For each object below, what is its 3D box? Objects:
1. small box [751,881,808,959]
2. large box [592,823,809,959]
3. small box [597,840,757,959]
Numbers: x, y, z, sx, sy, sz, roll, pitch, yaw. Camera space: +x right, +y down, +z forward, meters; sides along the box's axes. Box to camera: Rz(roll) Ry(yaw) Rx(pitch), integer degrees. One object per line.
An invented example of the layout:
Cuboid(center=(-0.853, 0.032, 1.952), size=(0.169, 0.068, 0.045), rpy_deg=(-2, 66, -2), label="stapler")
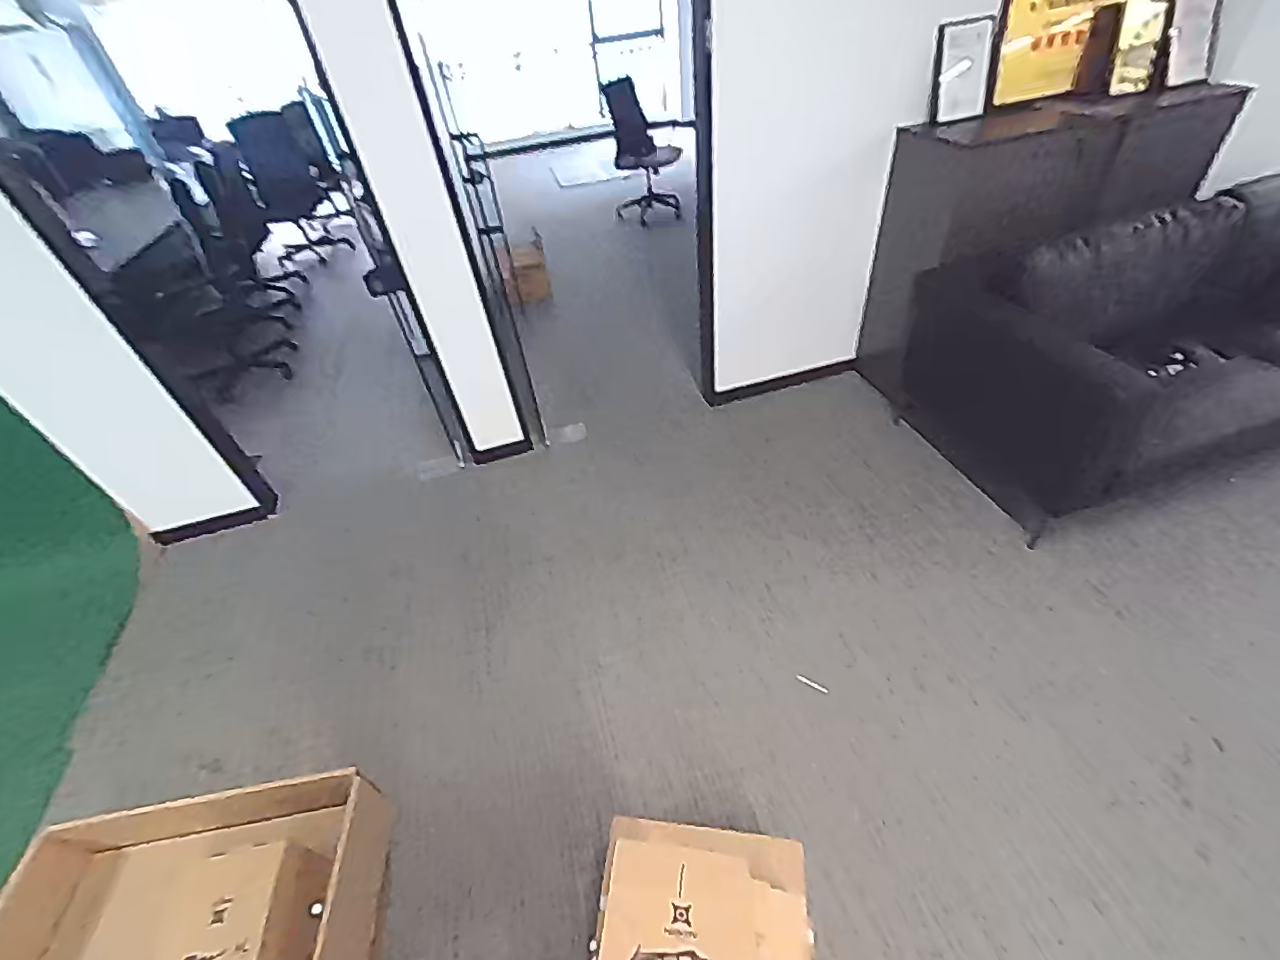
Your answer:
Cuboid(center=(0.190, 0.811, 0.927), size=(0.168, 0.176, 0.179), rpy_deg=(6, 46, 15), label="small box")
Cuboid(center=(0.133, 0.960, 1.137), size=(0.408, 0.320, 0.320), rpy_deg=(1, 43, 10), label="large box")
Cuboid(center=(0.037, 0.553, 0.602), size=(0.168, 0.176, 0.179), rpy_deg=(6, 17, 4), label="small box")
